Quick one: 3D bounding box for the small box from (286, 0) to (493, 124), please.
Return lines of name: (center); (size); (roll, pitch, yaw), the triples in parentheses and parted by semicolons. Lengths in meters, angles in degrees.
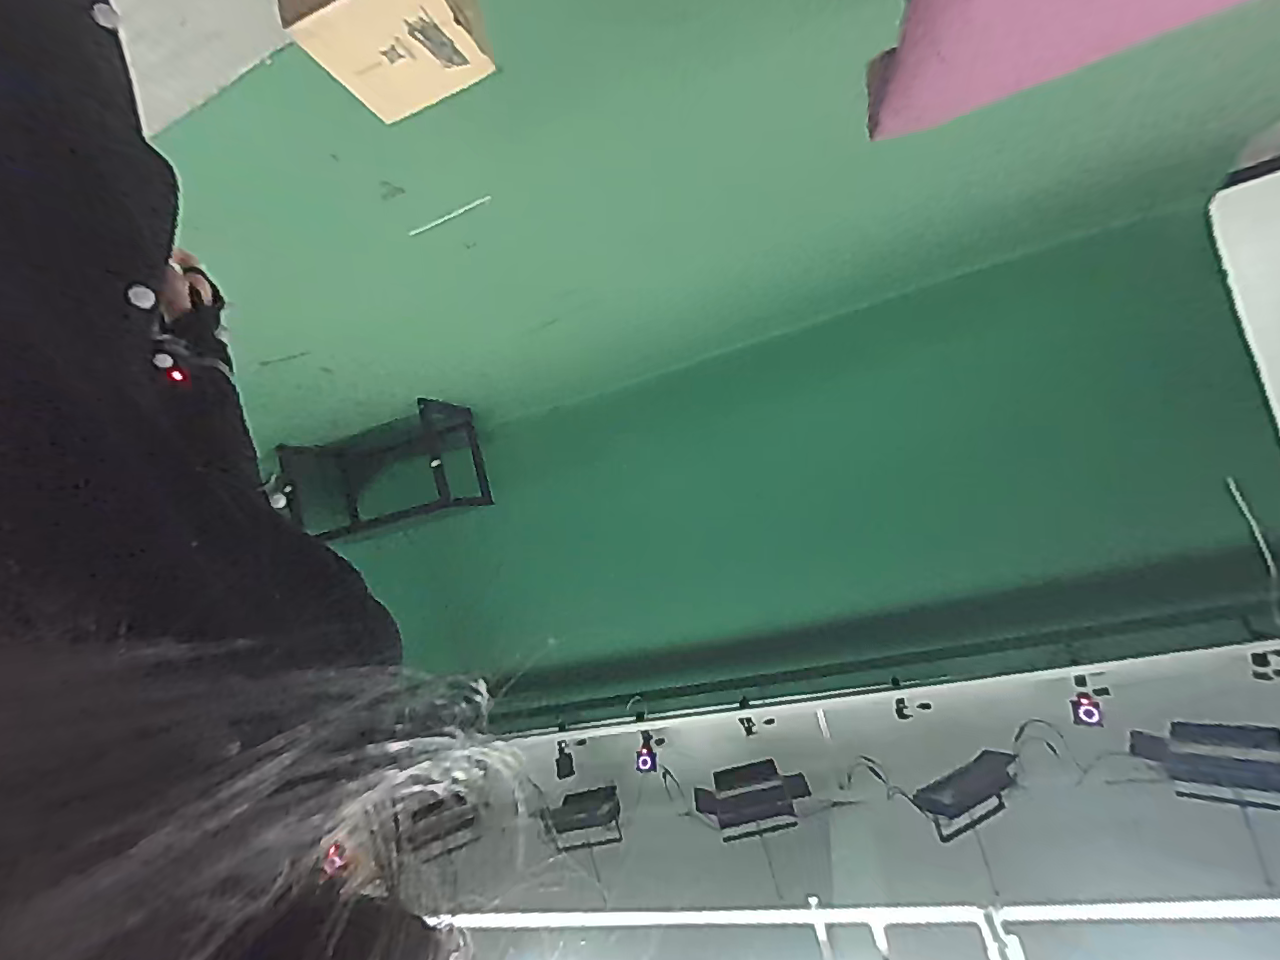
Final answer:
small box: (-0.309, -0.589, 0.651); (0.179, 0.176, 0.168); (-14, 177, 13)
